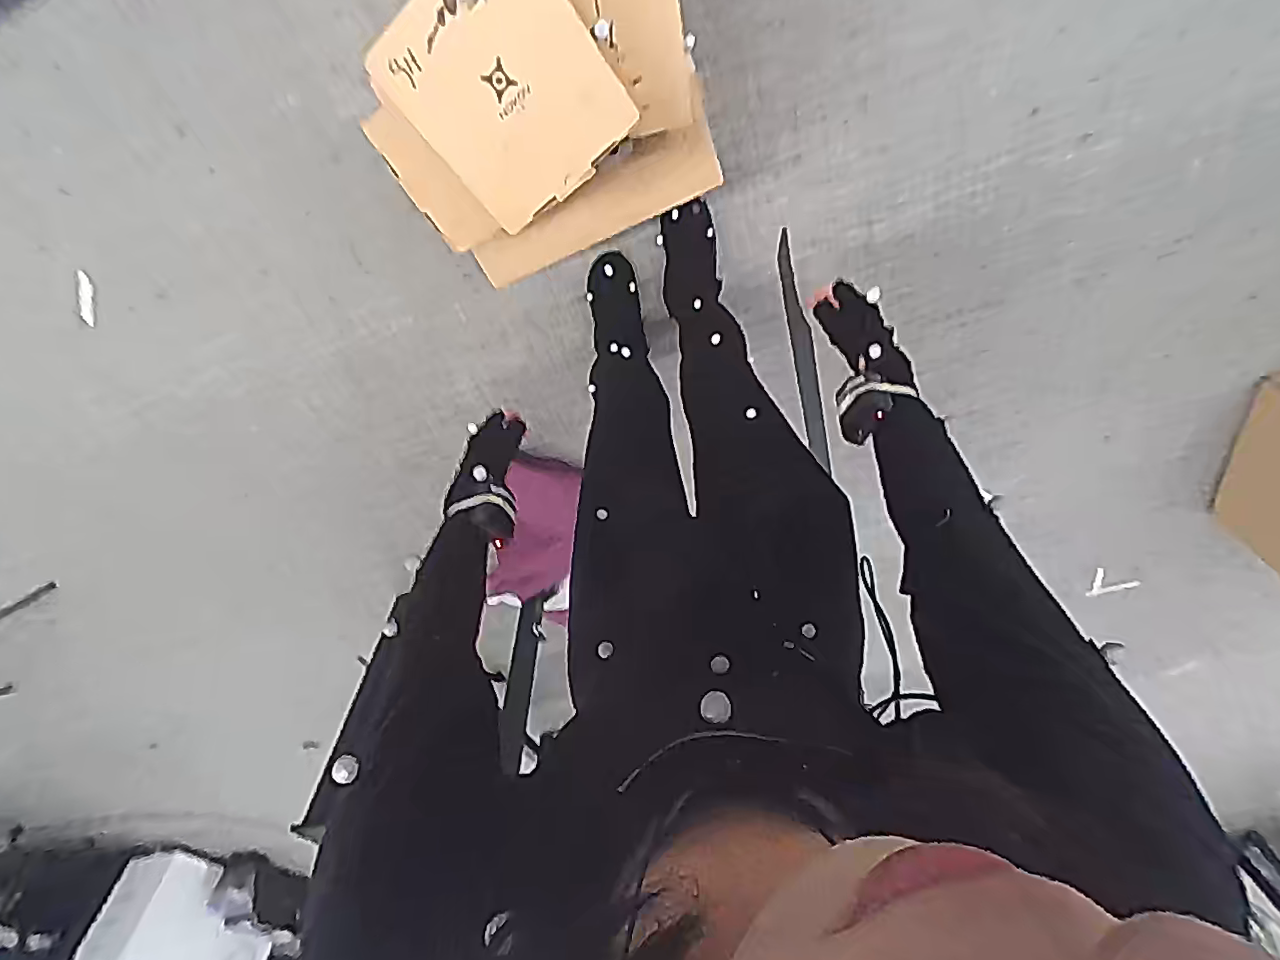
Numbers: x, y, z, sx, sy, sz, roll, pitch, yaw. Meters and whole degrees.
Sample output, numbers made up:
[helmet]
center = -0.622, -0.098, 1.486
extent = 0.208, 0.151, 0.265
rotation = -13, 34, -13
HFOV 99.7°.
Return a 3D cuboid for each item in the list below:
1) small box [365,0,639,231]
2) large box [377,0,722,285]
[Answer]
[small box]
center = -0.114, -0.386, 0.522
extent = 0.168, 0.176, 0.179
rotation = -31, 124, 22
[large box]
center = -0.122, -0.588, 0.882
extent = 0.408, 0.320, 0.320
rotation = -20, 127, 14
